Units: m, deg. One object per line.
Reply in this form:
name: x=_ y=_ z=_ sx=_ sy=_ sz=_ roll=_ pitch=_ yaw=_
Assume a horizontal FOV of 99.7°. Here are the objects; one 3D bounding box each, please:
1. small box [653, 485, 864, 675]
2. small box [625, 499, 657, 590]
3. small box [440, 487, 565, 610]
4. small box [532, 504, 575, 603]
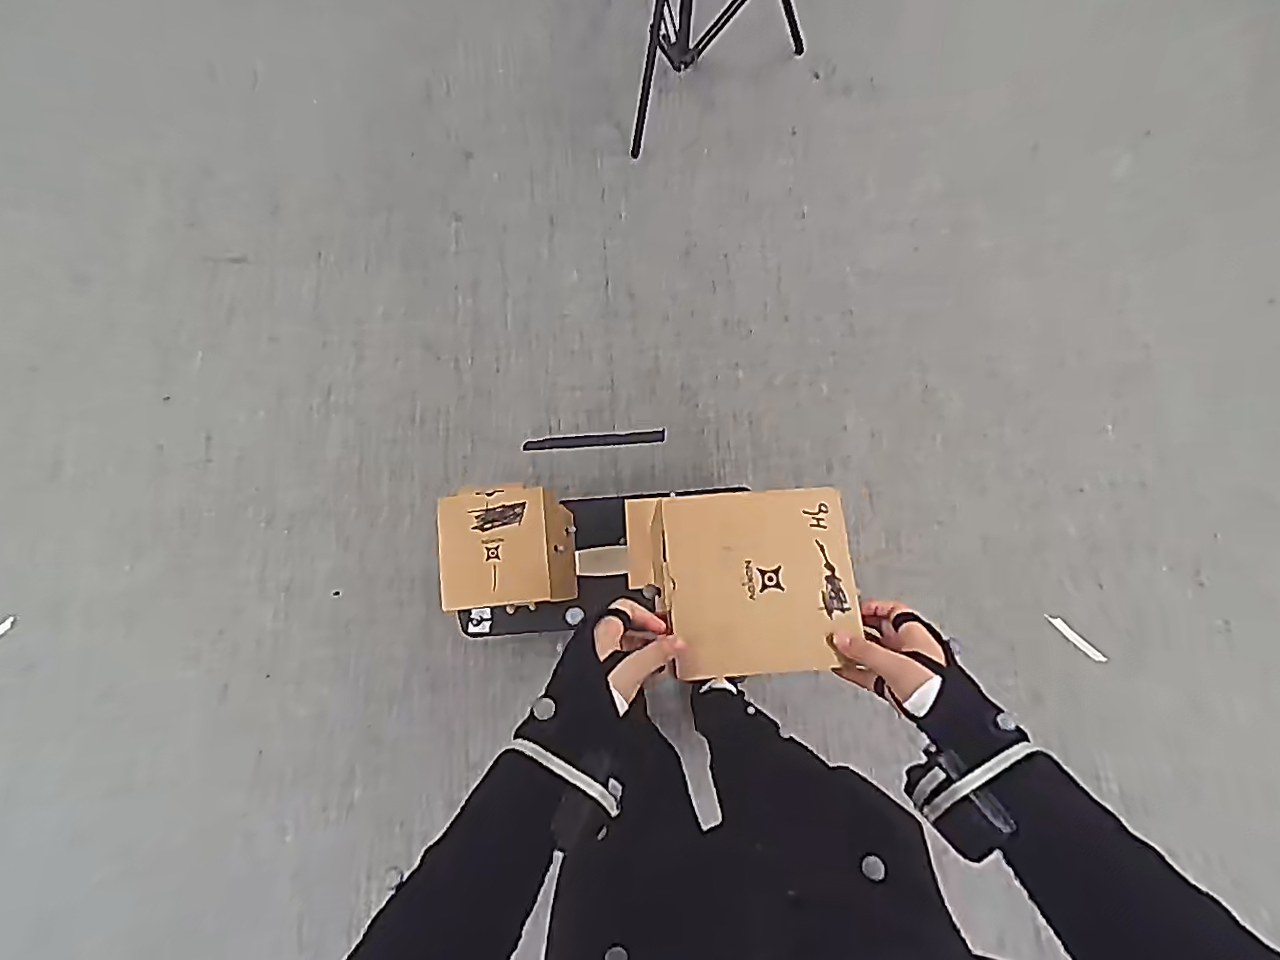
small box: x=0.106 y=0.109 z=0.570 sx=0.179 sy=0.176 sz=0.168 roll=-4 pitch=75 yaw=-2
small box: x=0.063 y=0.126 z=1.063 sx=0.179 sy=0.176 sz=0.168 roll=-3 pitch=80 yaw=2
small box: x=-0.221 y=0.116 z=0.896 sx=0.168 sy=0.176 sz=0.179 roll=-6 pitch=81 yaw=-1
small box: x=-0.217 y=0.150 z=1.057 sx=0.168 sy=0.176 sz=0.179 roll=-4 pitch=80 yaw=0
